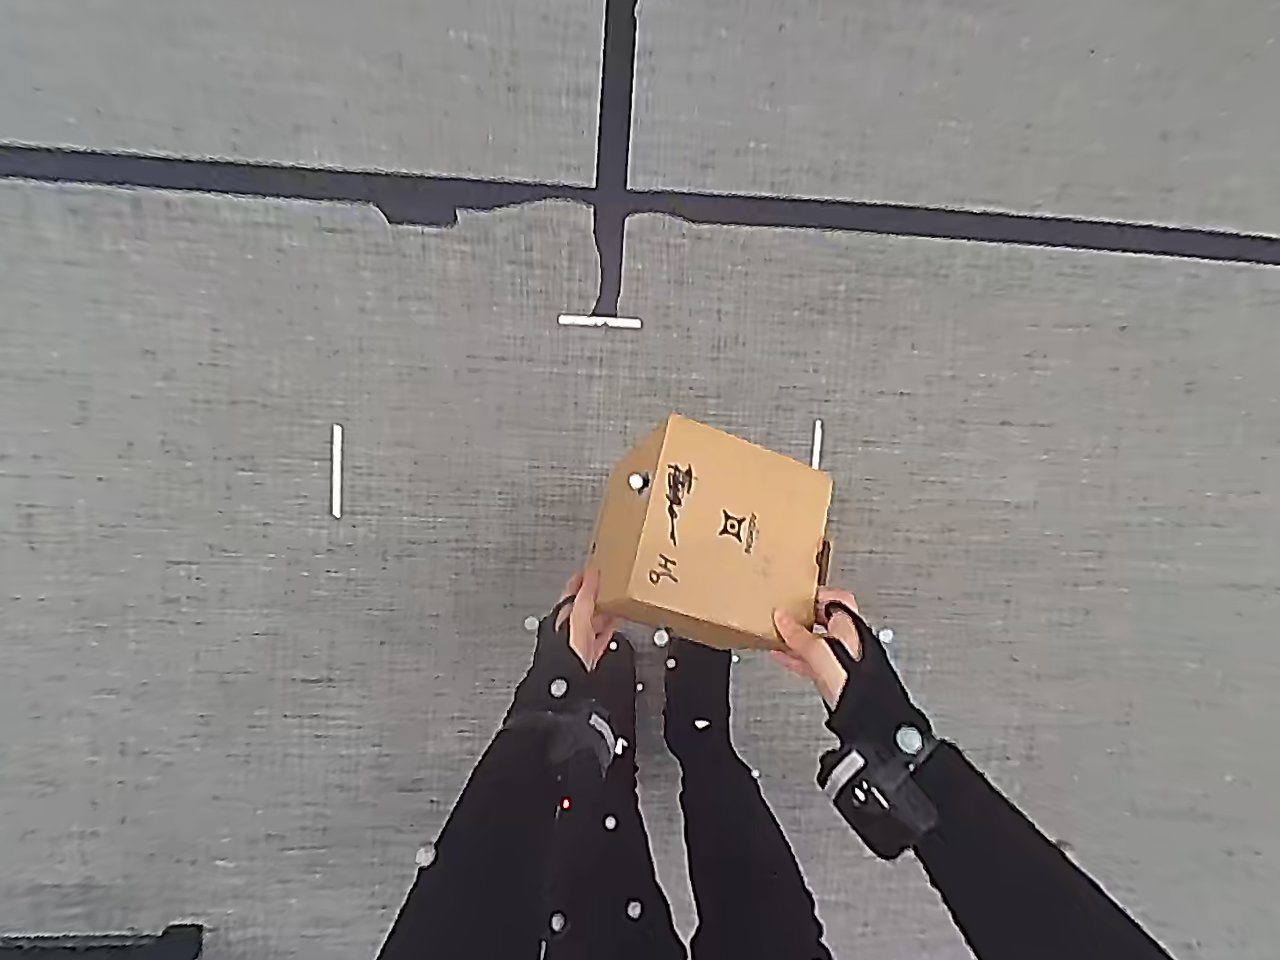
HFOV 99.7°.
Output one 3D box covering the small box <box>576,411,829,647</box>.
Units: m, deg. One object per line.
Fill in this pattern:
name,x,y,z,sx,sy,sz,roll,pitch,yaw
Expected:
small box,0.056,0.060,0.539,0.179,0.176,0.168,20,68,-16
